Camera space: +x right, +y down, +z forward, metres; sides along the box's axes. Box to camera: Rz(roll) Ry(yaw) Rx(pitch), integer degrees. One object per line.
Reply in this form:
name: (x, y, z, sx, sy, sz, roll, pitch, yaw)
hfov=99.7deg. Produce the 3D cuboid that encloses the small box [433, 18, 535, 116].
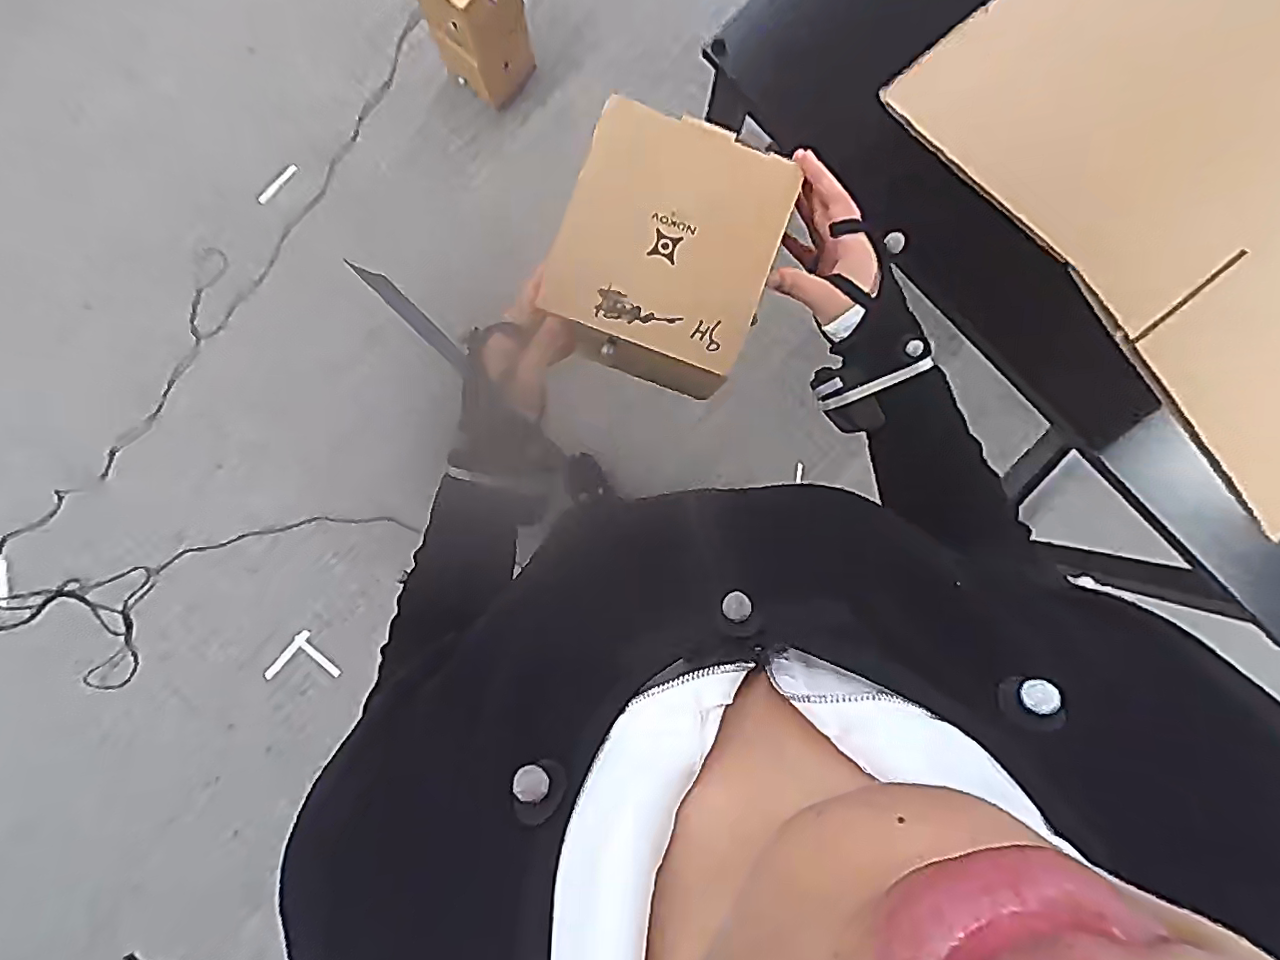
small box: (-0.385, -1.095, 1.380, 0.168, 0.176, 0.179, 41, 91, -2)

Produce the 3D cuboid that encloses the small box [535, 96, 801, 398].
small box: (0.021, -0.193, 0.502, 0.168, 0.176, 0.179, 20, 91, 0)

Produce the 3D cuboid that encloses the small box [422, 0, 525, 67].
small box: (-0.380, -1.096, 1.218, 0.168, 0.176, 0.179, 37, 89, -3)
